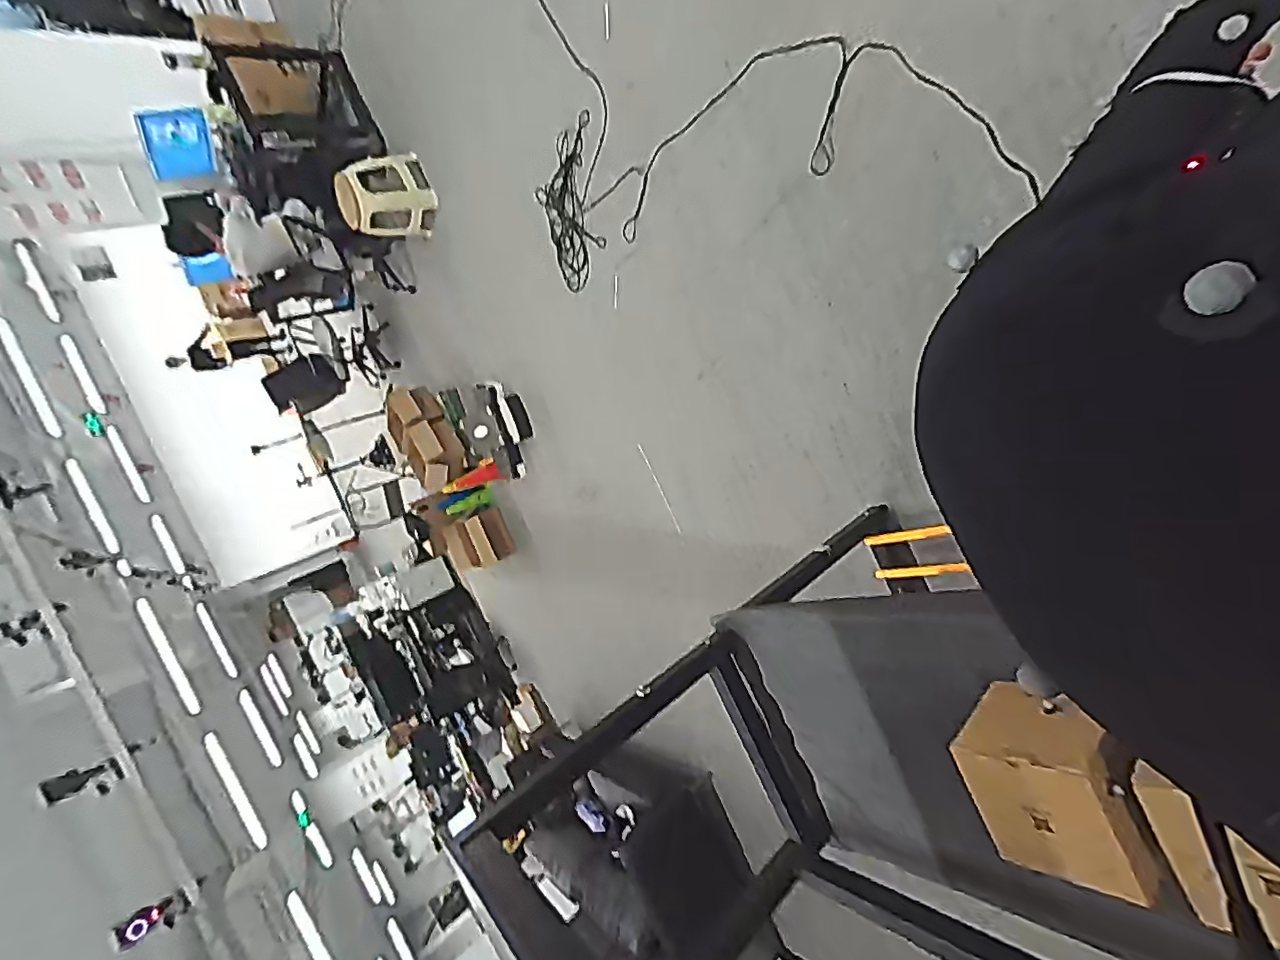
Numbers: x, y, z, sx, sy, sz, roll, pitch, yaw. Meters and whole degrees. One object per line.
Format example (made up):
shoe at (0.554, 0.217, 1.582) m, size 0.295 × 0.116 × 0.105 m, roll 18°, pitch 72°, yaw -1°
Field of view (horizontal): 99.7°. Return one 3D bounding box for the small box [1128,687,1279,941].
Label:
small box at (0.667, 0.347, 0.563) m, size 0.168 × 0.176 × 0.179 m, roll -26°, pitch 90°, yaw 56°

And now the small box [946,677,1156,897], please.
small box at (0.566, 0.397, 0.735) m, size 0.168 × 0.176 × 0.179 m, roll -27°, pitch 90°, yaw 55°
